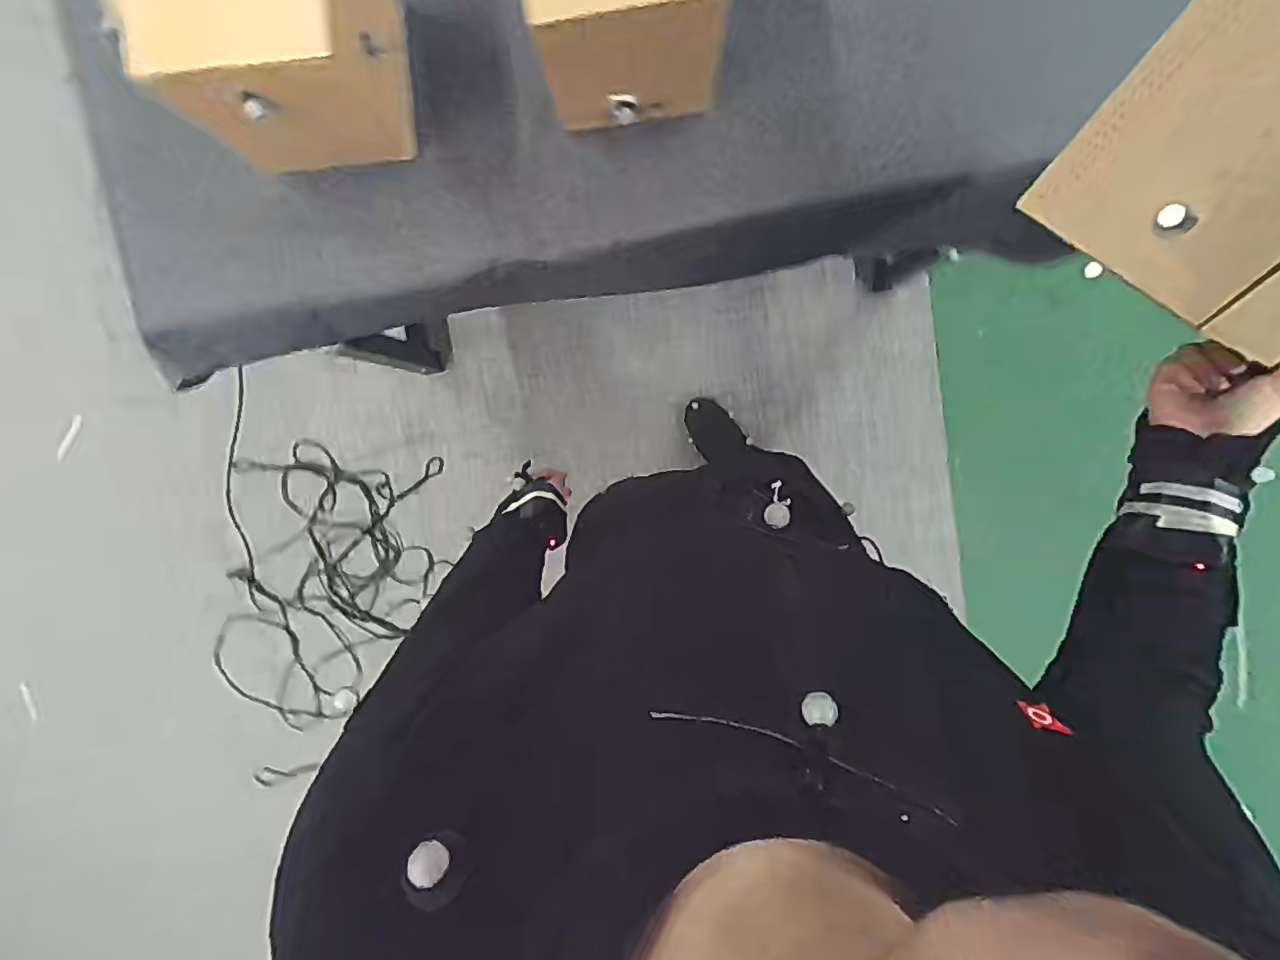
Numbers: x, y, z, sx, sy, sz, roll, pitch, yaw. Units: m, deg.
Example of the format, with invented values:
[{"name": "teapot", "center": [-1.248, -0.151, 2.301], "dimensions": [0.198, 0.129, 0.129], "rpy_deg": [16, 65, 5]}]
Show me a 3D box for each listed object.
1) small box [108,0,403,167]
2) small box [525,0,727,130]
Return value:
[{"name": "small box", "center": [-0.344, -0.424, 0.512], "dimensions": [0.179, 0.176, 0.168], "rpy_deg": [-5, 95, 2]}, {"name": "small box", "center": [-0.020, -0.471, 0.501], "dimensions": [0.168, 0.176, 0.179], "rpy_deg": [-9, 95, 3]}]
